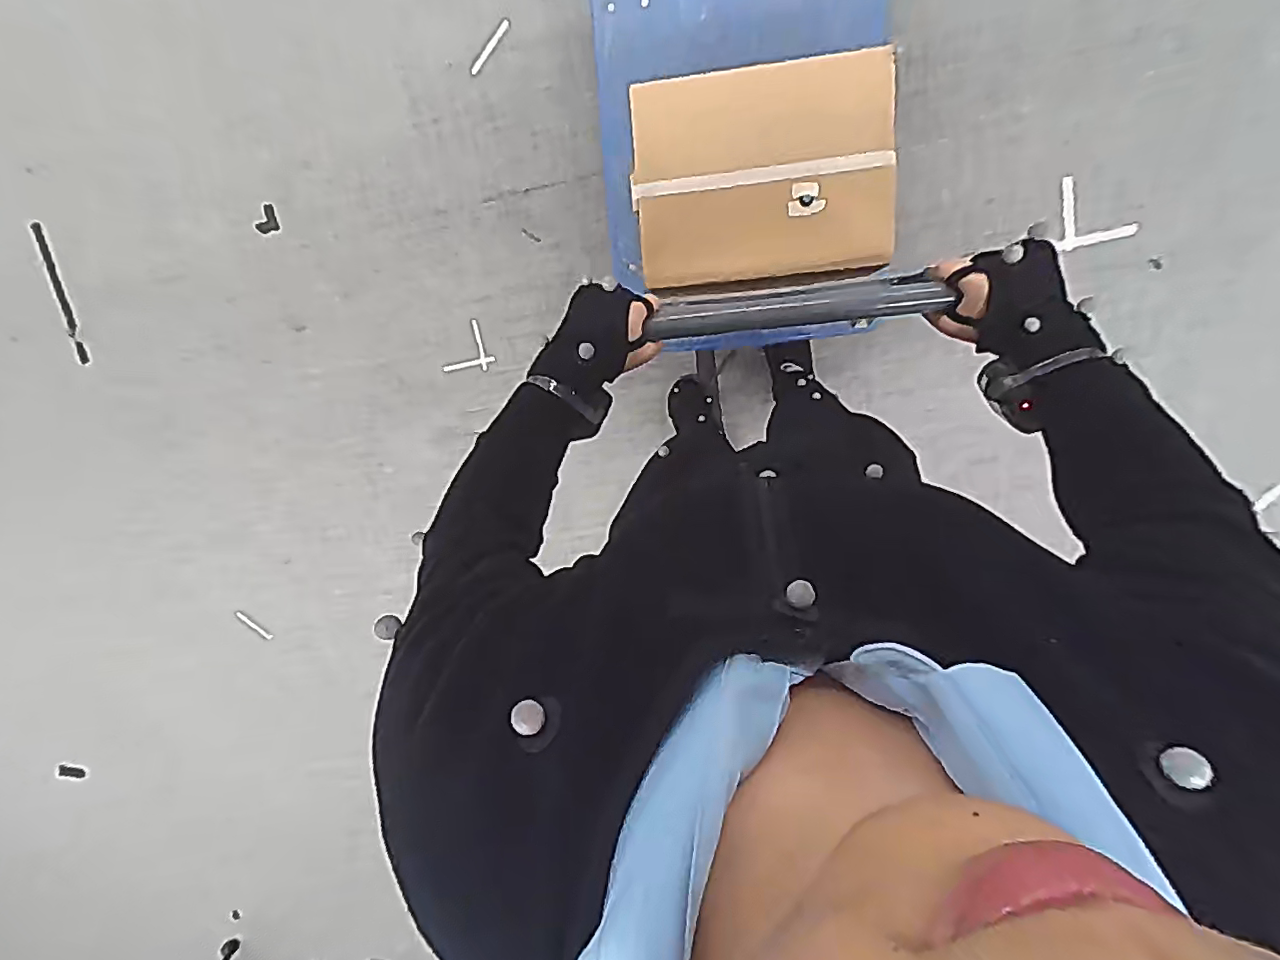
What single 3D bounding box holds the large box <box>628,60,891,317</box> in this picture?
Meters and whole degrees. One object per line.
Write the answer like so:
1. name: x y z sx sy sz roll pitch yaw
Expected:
1. large box: 0.205 -0.497 1.007 0.408 0.320 0.320 -4 102 7
